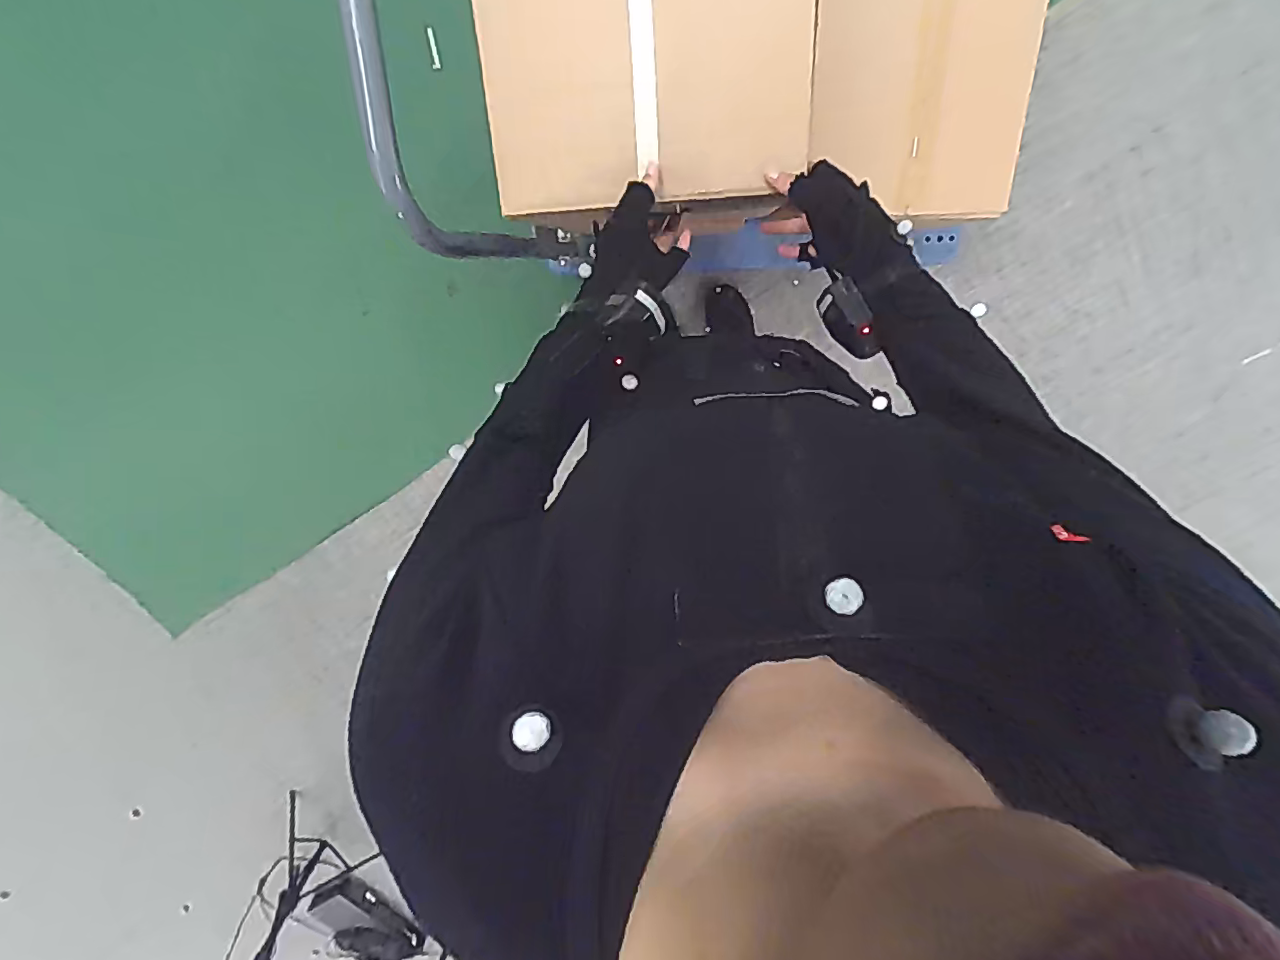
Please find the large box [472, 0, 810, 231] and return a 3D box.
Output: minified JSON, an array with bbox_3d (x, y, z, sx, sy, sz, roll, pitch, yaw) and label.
[{"bbox_3d":[0.011,-0.524,0.615,0.320,0.320,0.408,-1,111,7],"label":"large box"}]
